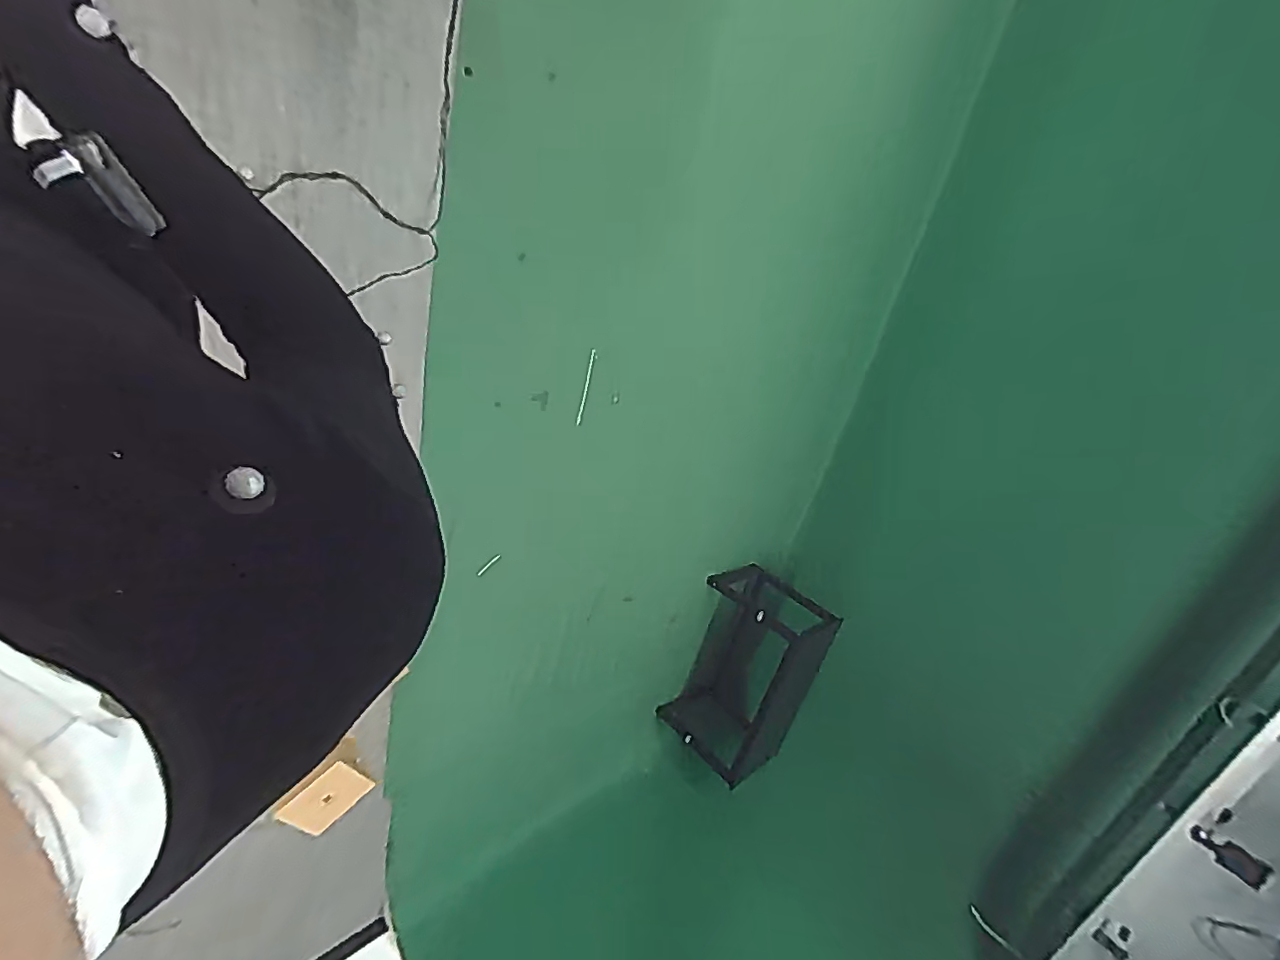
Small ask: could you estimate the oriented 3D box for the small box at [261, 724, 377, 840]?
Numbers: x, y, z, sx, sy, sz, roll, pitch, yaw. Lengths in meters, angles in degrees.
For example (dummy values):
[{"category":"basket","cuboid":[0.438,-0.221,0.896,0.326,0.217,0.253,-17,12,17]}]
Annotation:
[{"category":"small box","cuboid":[-0.811,0.756,1.368,0.168,0.176,0.179,-39,137,-24]}]
